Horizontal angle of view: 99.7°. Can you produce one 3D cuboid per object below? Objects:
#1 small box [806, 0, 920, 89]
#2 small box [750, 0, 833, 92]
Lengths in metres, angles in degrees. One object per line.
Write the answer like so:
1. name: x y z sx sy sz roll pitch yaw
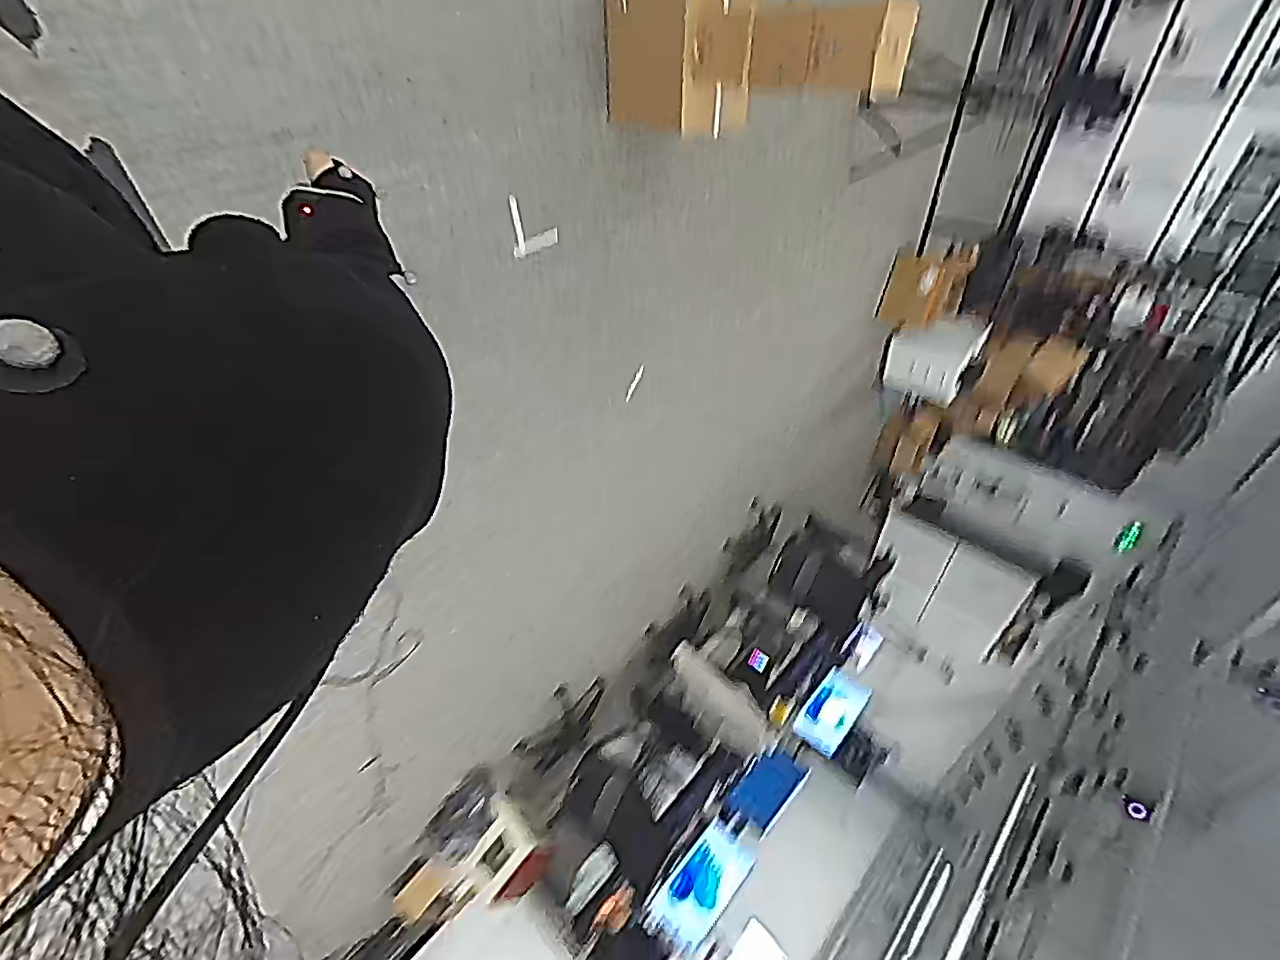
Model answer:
1. small box: 0.520 -1.028 1.274 0.179 0.176 0.168 -33 138 -35
2. small box: 0.393 -1.091 1.358 0.168 0.176 0.179 -35 139 -34
